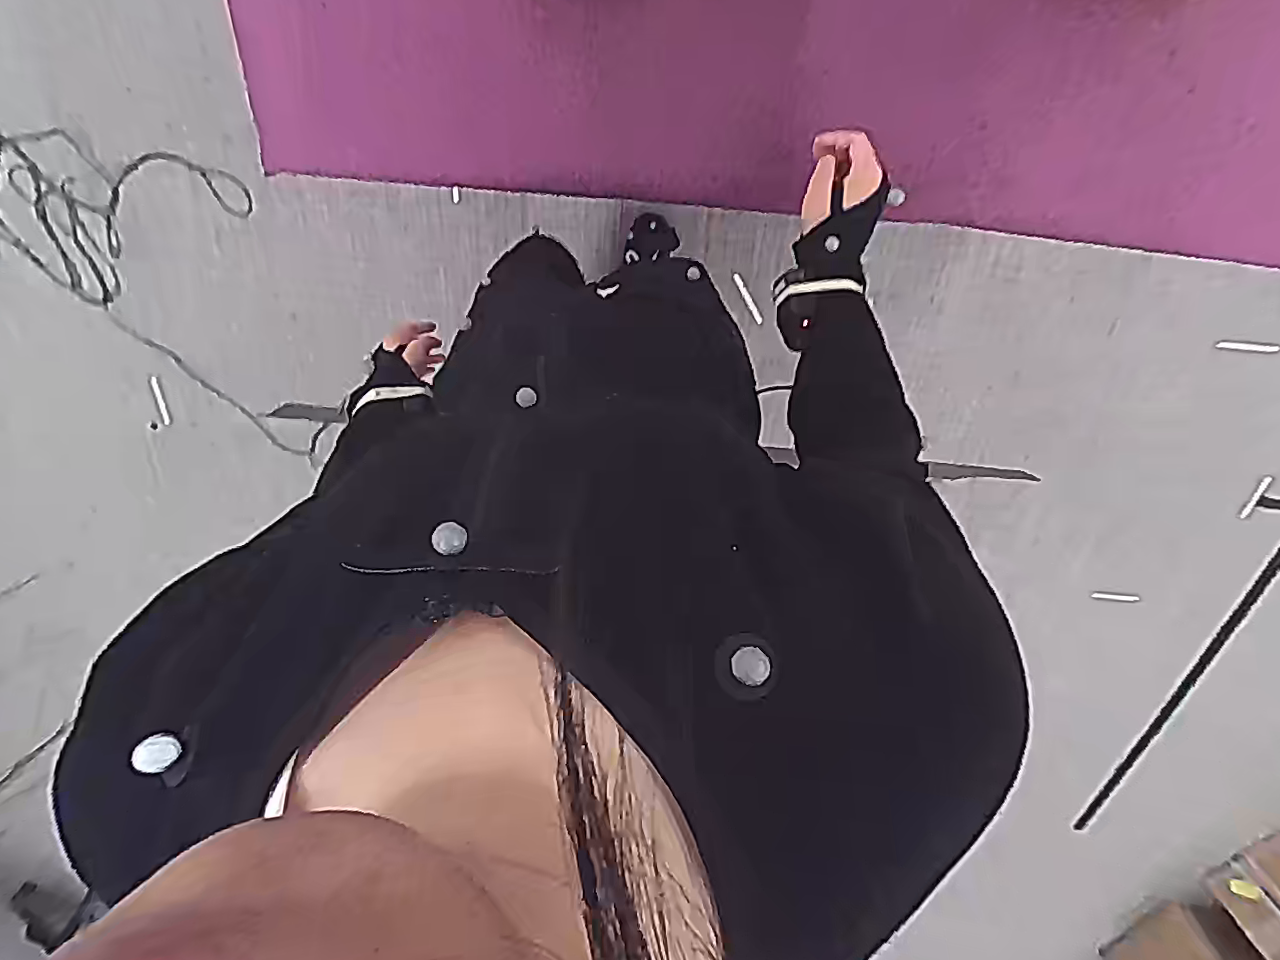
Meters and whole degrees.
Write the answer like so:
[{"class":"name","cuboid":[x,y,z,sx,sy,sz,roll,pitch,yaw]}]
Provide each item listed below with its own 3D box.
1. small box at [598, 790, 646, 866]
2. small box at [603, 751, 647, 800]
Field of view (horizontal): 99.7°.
[{"class":"small box","cuboid":[-0.061,1.261,1.962,0.168,0.176,0.179,0,118,2]},{"class":"small box","cuboid":[-0.056,1.183,2.107,0.168,0.176,0.179,1,117,1]}]
